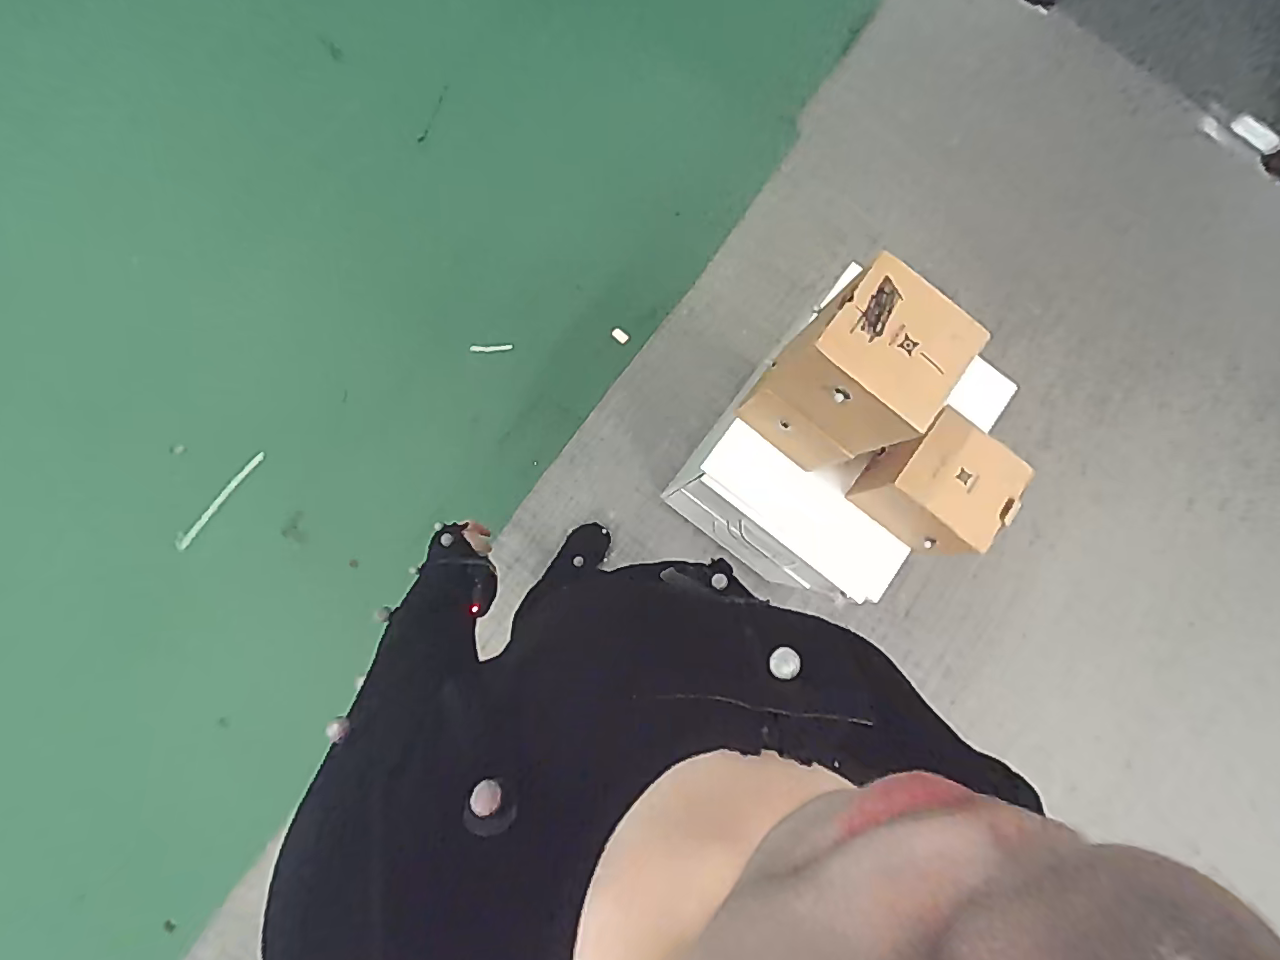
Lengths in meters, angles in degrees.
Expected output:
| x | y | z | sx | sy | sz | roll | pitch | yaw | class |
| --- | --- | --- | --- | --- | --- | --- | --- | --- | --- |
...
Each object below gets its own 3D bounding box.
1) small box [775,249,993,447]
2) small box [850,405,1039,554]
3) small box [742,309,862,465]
| x | y | z | sx | sy | sz | roll | pitch | yaw | class |
| --- | --- | --- | --- | --- | --- | --- | --- | --- | --- |
| 0.316 | -0.163 | 0.737 | 0.179 | 0.176 | 0.168 | 38 | 81 | -2 | small box |
| 0.494 | 0.006 | 0.901 | 0.179 | 0.176 | 0.168 | 38 | 81 | 2 | small box |
| 0.297 | -0.141 | 0.899 | 0.179 | 0.176 | 0.168 | 39 | 82 | -1 | small box |
